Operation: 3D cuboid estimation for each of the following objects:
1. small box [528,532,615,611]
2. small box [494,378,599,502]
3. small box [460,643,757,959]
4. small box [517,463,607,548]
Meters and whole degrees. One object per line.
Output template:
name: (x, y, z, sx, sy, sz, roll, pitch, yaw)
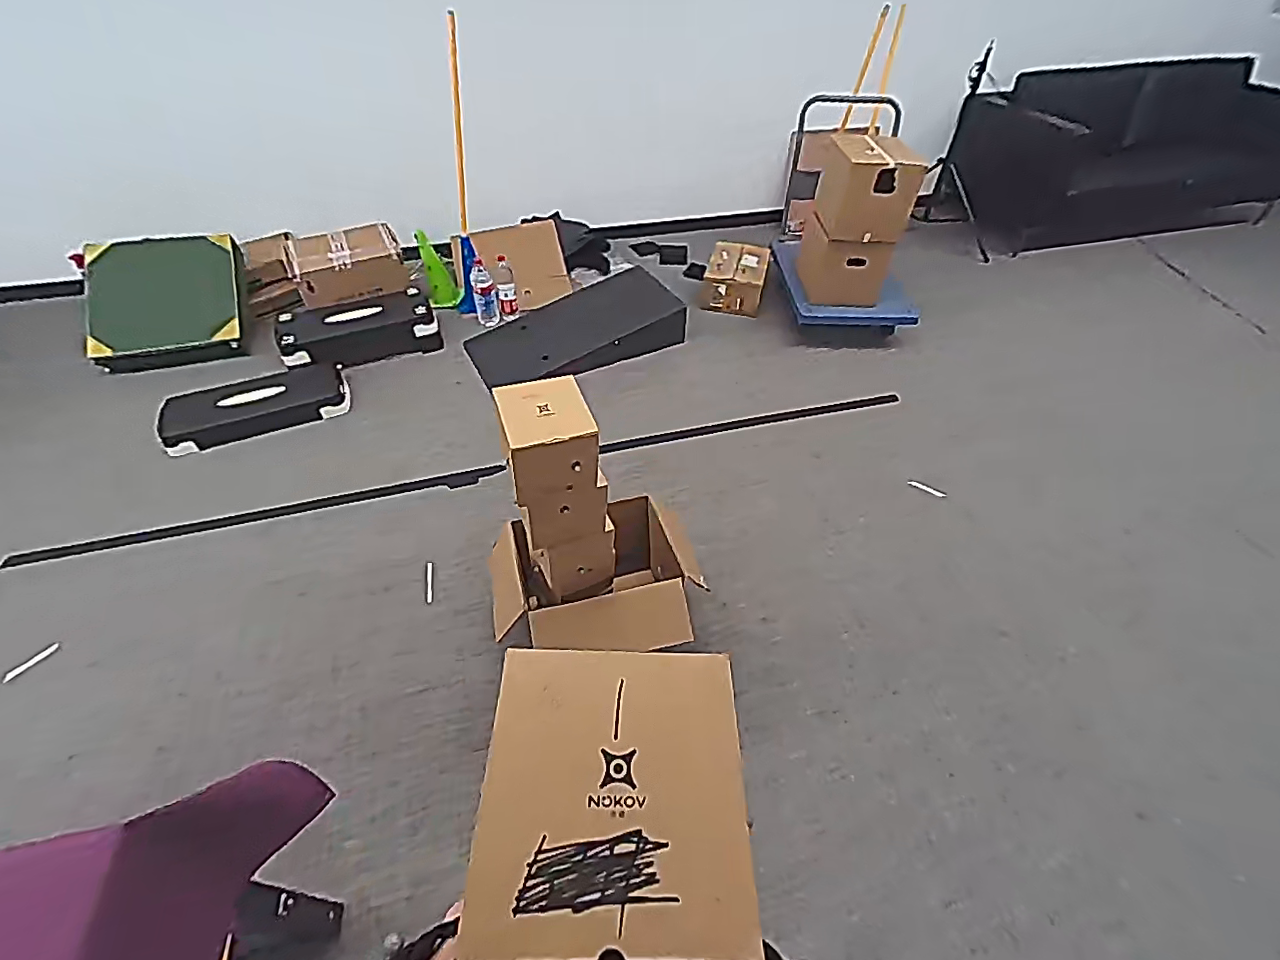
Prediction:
small box: (-0.185, 0.225, 1.473, 0.179, 0.176, 0.168, -26, 56, -27)
small box: (-0.185, -0.074, 1.080, 0.168, 0.176, 0.179, -13, 51, -18)
small box: (-0.019, 0.241, 0.405, 0.168, 0.176, 0.179, 3, 49, -3)
small box: (-0.181, 0.030, 1.207, 0.179, 0.176, 0.168, -14, 53, -18)
